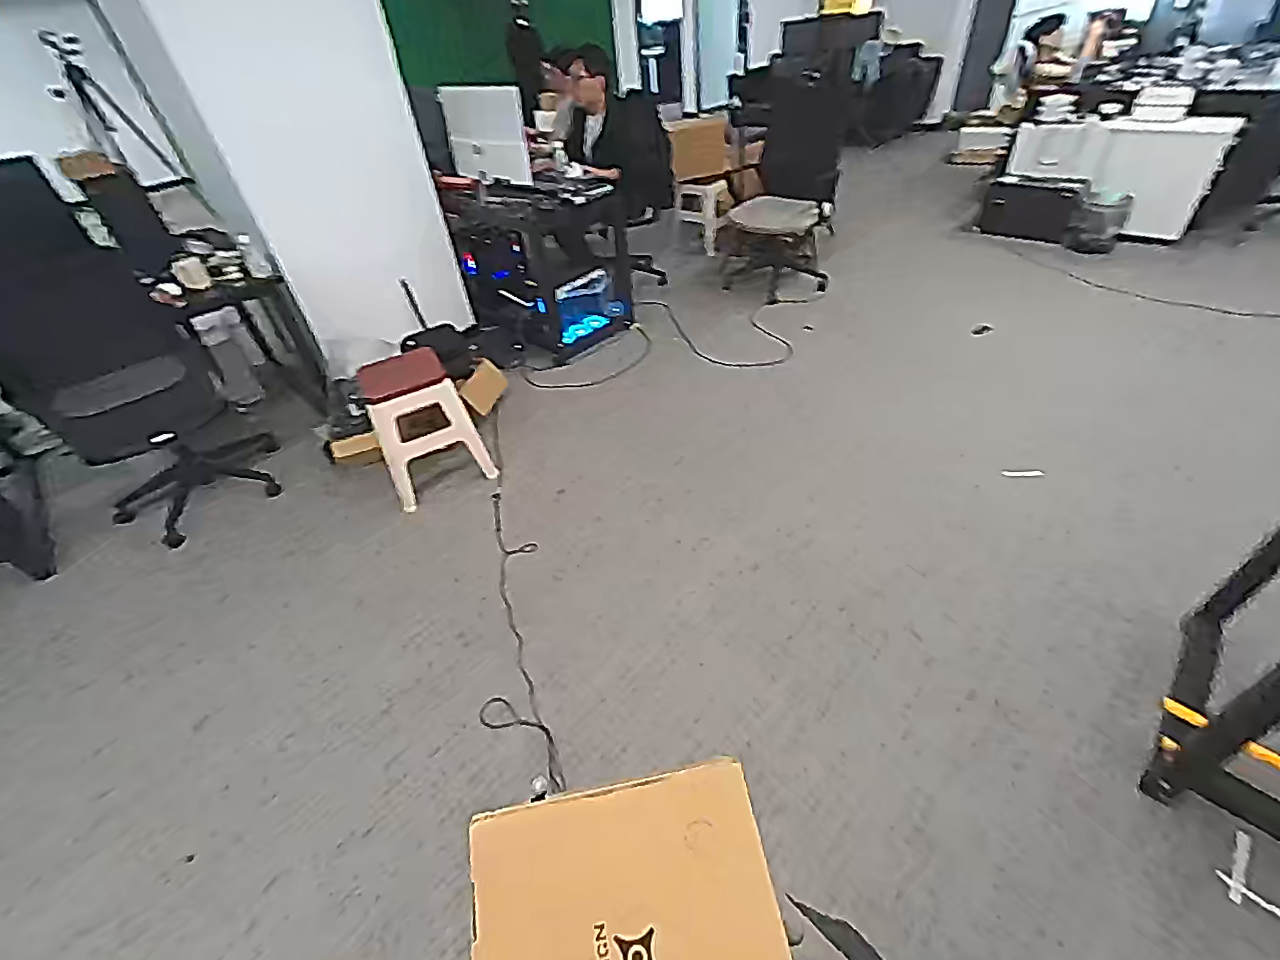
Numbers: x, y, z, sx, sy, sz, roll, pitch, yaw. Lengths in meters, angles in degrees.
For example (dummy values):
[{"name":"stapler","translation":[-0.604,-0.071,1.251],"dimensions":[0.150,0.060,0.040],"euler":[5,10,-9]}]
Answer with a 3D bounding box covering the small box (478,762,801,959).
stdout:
[{"name":"small box","translation":[0.008,0.298,0.367],"dimensions":[0.179,0.176,0.168],"euler":[-13,62,2]}]
